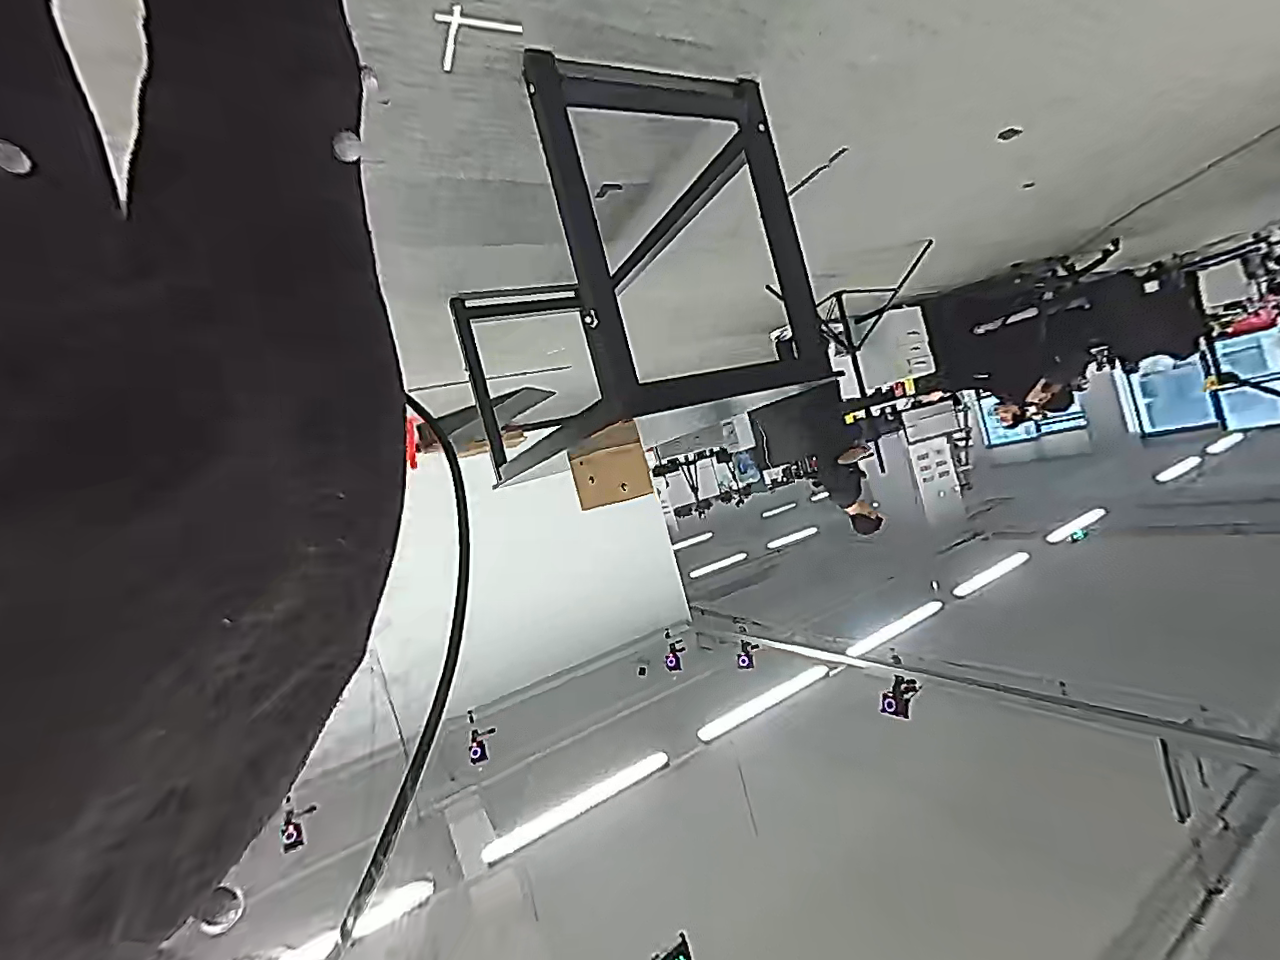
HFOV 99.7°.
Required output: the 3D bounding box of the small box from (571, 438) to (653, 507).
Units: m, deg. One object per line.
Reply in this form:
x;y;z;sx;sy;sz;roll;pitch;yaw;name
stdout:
-0.093;-0.026;1.703;0.168;0.176;0.179;-15;-179;44;small box
